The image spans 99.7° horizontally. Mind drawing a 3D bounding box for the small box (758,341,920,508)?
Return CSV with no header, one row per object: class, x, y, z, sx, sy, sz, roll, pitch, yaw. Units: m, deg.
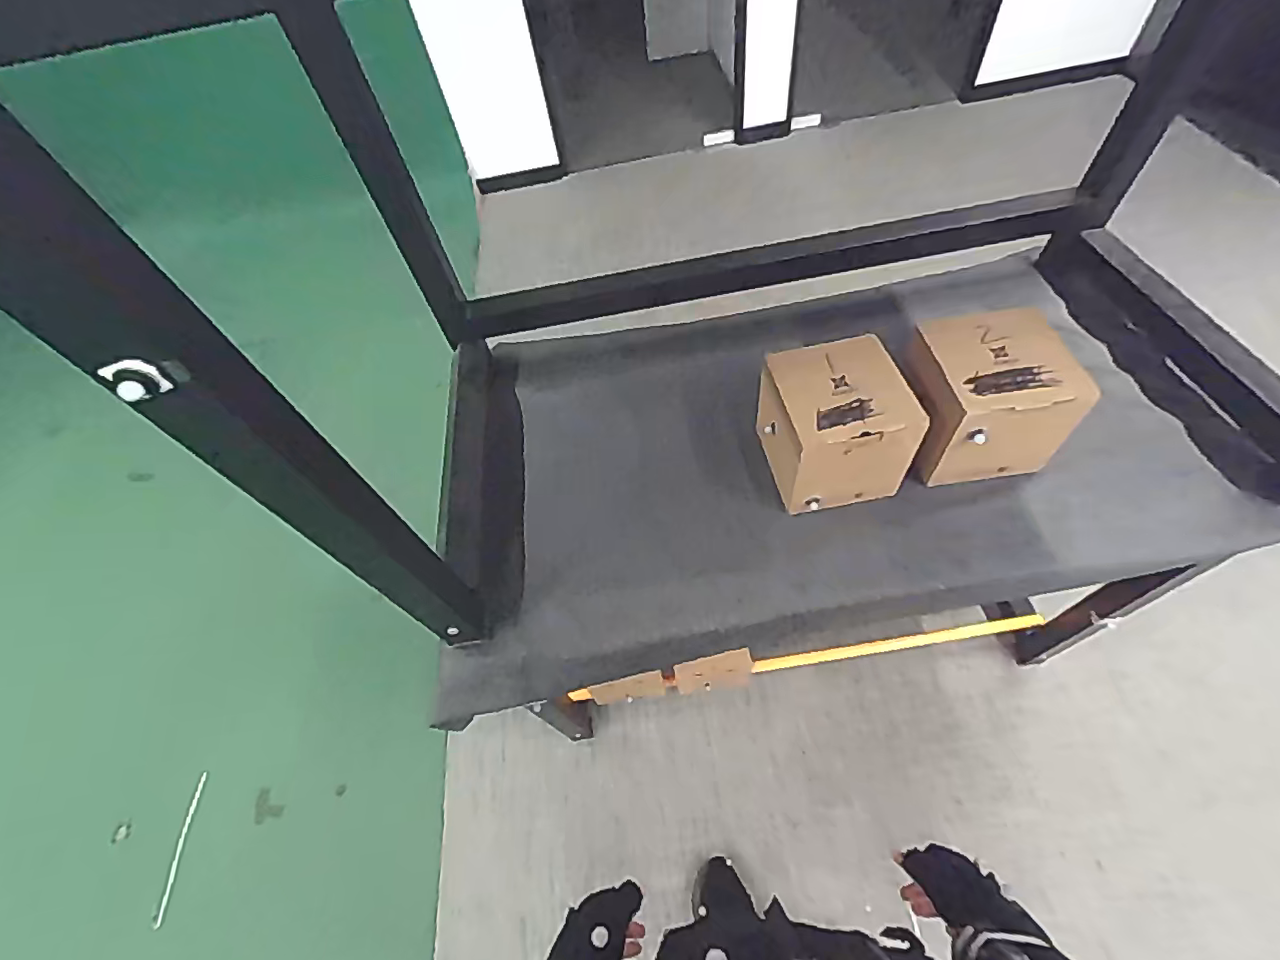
small box,0.280,-0.073,0.806,0.168,0.176,0.179,-11,54,1
